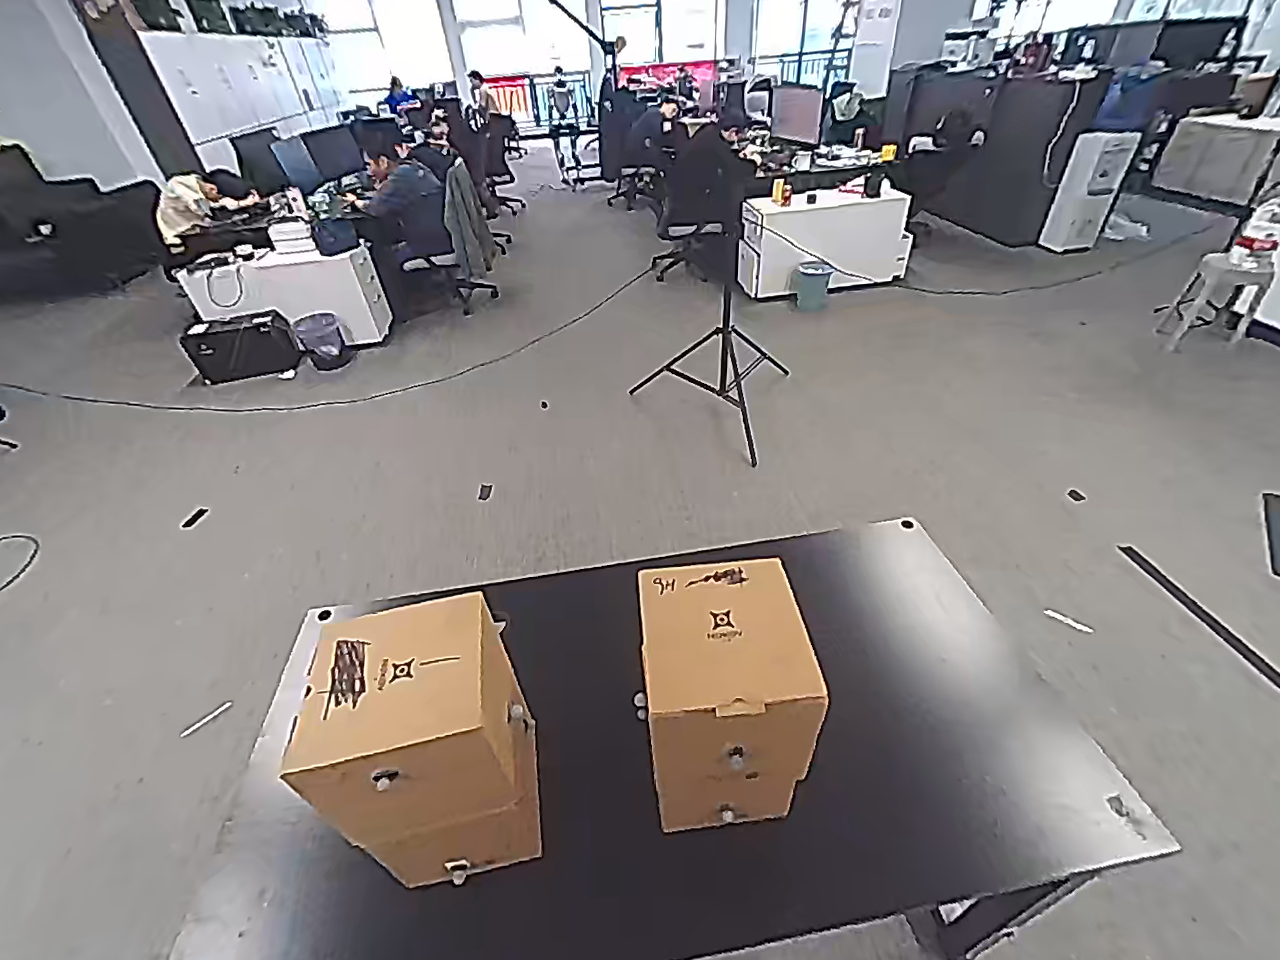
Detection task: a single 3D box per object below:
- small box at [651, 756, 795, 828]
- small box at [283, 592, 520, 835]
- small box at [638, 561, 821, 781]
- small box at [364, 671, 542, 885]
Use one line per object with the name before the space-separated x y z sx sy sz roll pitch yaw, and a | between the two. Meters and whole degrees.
small box | 0.095 0.331 0.722 0.168 0.176 0.179 -6 39 -2
small box | -0.239 0.254 0.590 0.179 0.176 0.168 -11 40 -8
small box | 0.088 0.216 0.604 0.168 0.176 0.179 -5 40 0
small box | -0.227 0.379 0.697 0.168 0.176 0.179 -11 41 -7
